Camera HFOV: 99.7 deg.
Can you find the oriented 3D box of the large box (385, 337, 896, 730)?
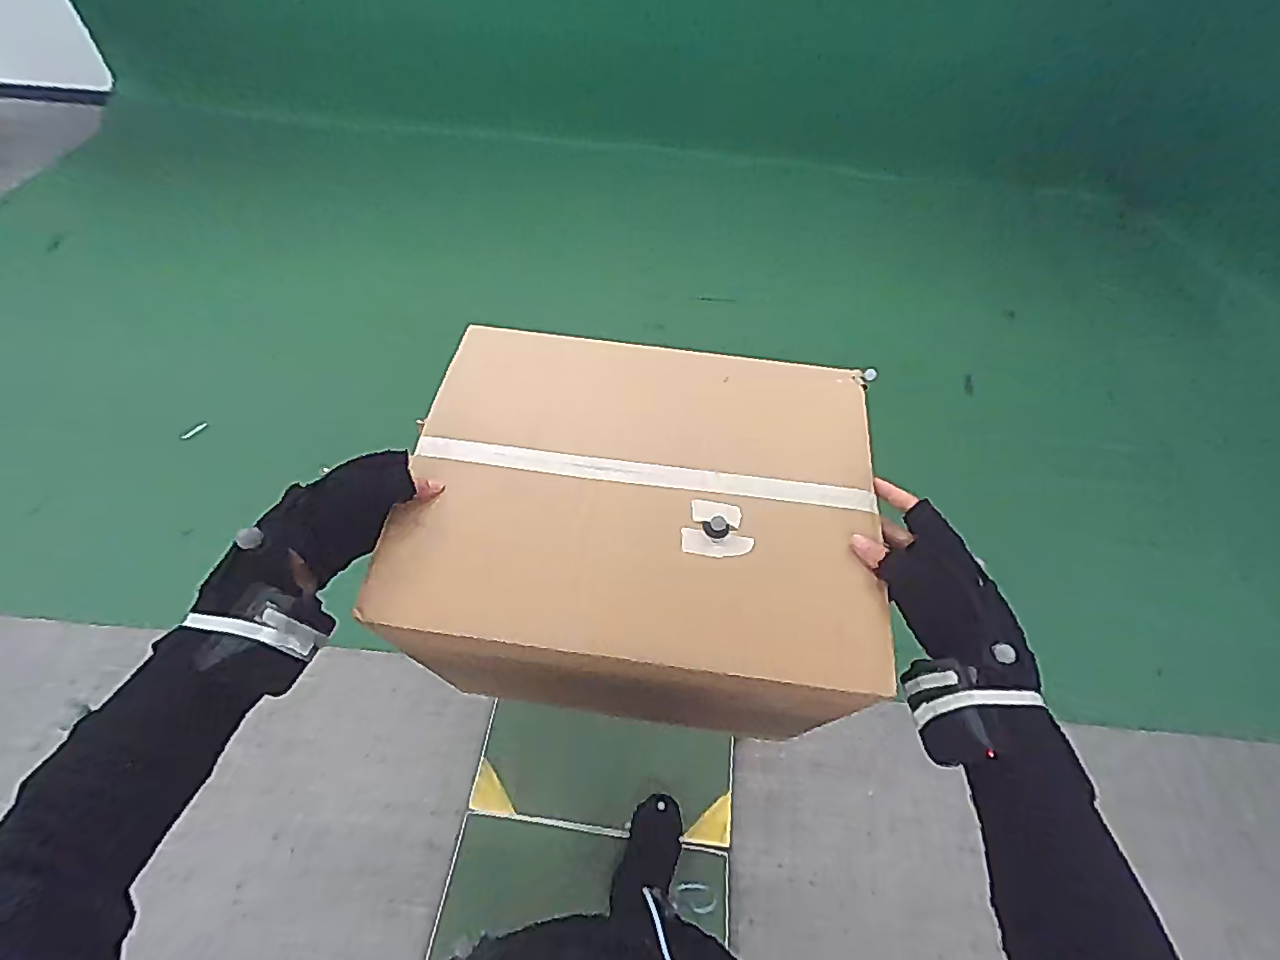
[{"bbox_3d":[0.007,0.076,0.614,0.408,0.320,0.320,8,59,2],"label":"large box"}]
